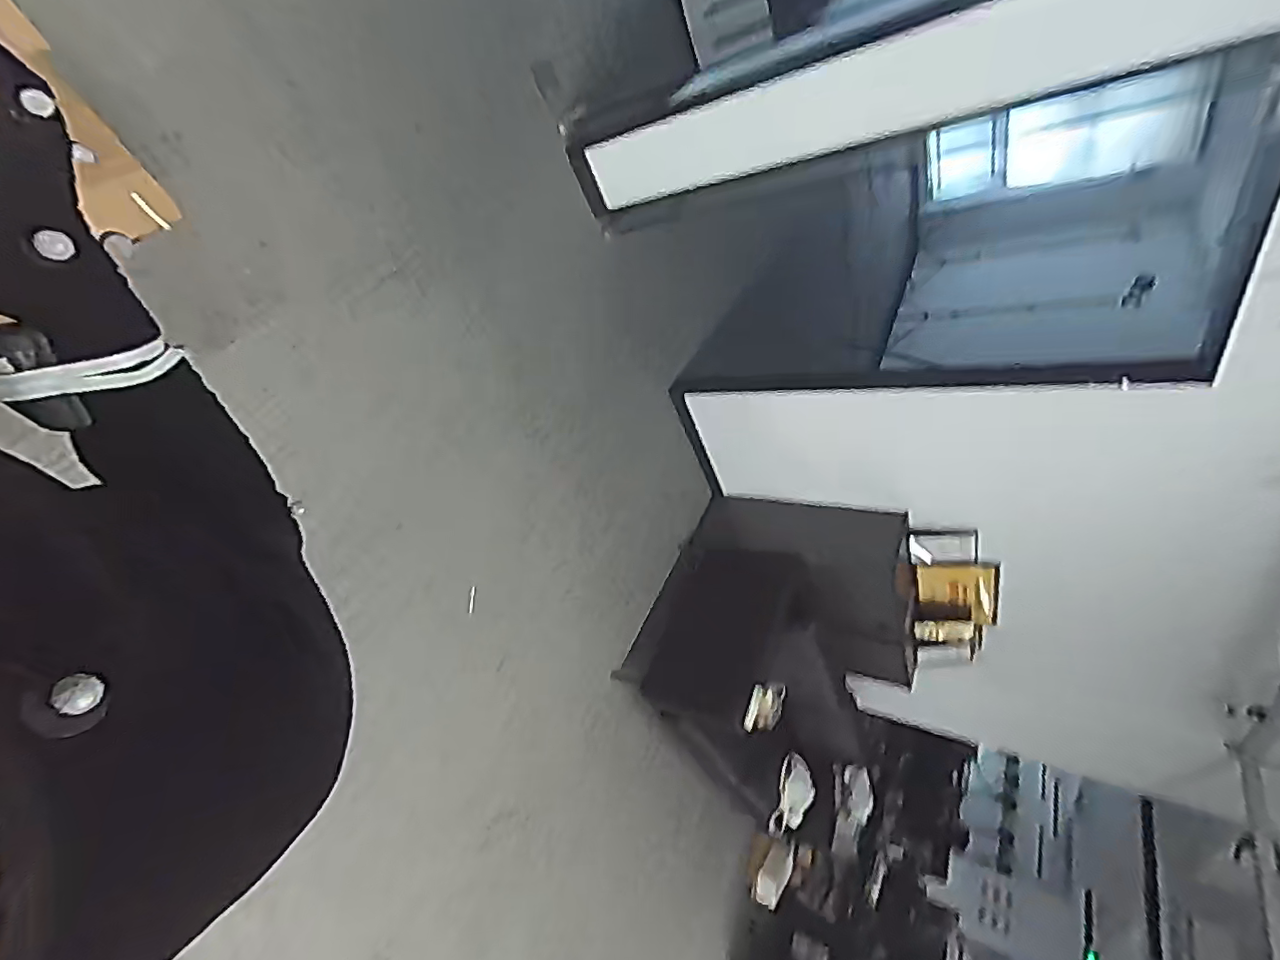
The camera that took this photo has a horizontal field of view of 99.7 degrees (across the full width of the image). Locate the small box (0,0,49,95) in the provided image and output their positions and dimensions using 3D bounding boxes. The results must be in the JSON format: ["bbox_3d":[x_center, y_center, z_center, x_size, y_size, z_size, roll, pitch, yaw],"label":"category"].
[{"bbox_3d":[-0.916,-0.575,0.663,0.179,0.176,0.168,-61,138,-35],"label":"small box"}]
